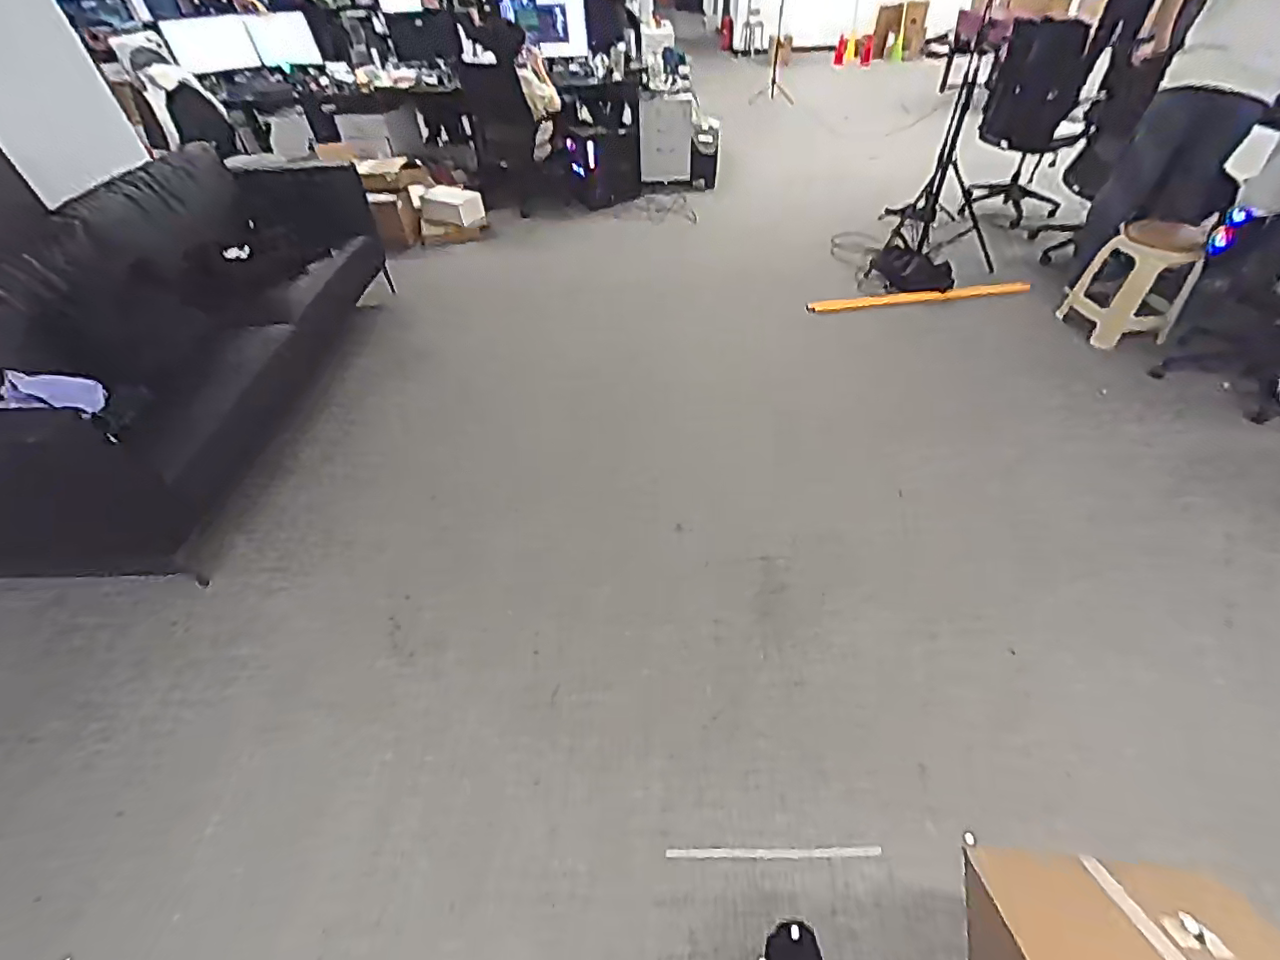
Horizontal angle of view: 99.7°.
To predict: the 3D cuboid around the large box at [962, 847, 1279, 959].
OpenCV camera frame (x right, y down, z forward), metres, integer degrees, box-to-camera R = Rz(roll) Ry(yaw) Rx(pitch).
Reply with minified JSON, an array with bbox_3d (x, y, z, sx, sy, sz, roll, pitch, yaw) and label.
[{"bbox_3d":[0.594,0.690,0.579,0.320,0.408,0.320,-1,89,12],"label":"large box"}]
